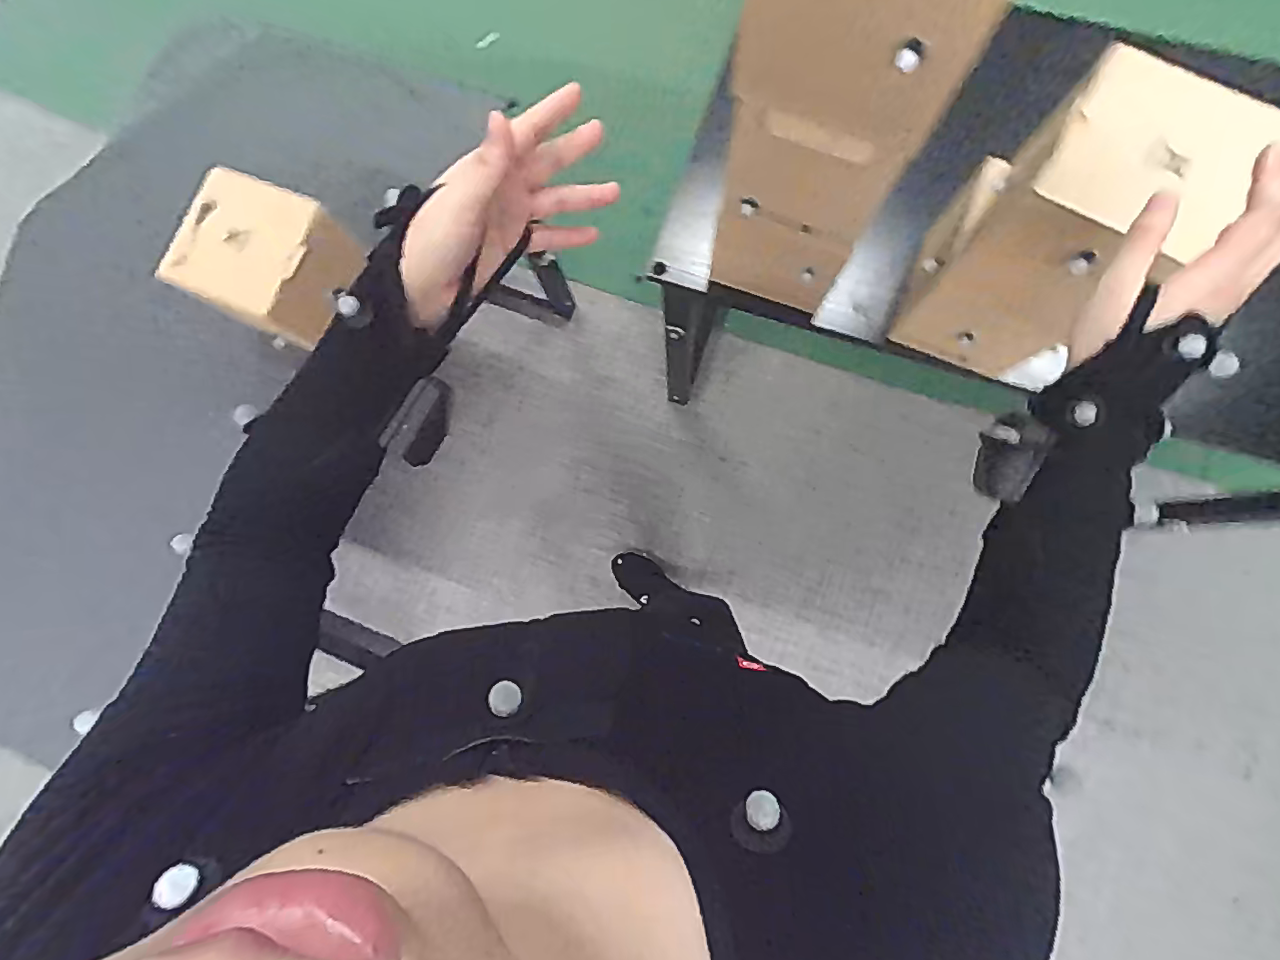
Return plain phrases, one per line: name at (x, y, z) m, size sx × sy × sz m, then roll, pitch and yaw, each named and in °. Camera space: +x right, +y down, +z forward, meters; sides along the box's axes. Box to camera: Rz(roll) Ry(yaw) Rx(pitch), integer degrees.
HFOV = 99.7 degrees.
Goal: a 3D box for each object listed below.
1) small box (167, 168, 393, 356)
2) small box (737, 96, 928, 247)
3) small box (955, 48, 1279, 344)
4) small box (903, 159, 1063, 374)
small box at (-0.495, -0.296, 0.774) m, size 0.179 × 0.176 × 0.168 m, roll 23°, pitch 85°, yaw 8°
small box at (0.211, -0.383, 0.570) m, size 0.168 × 0.176 × 0.179 m, roll 23°, pitch 84°, yaw 5°
small box at (0.466, -0.258, 0.537) m, size 0.179 × 0.176 × 0.168 m, roll 31°, pitch 86°, yaw 7°
small box at (0.472, -0.261, 0.702) m, size 0.168 × 0.176 × 0.179 m, roll 23°, pitch 85°, yaw 6°
